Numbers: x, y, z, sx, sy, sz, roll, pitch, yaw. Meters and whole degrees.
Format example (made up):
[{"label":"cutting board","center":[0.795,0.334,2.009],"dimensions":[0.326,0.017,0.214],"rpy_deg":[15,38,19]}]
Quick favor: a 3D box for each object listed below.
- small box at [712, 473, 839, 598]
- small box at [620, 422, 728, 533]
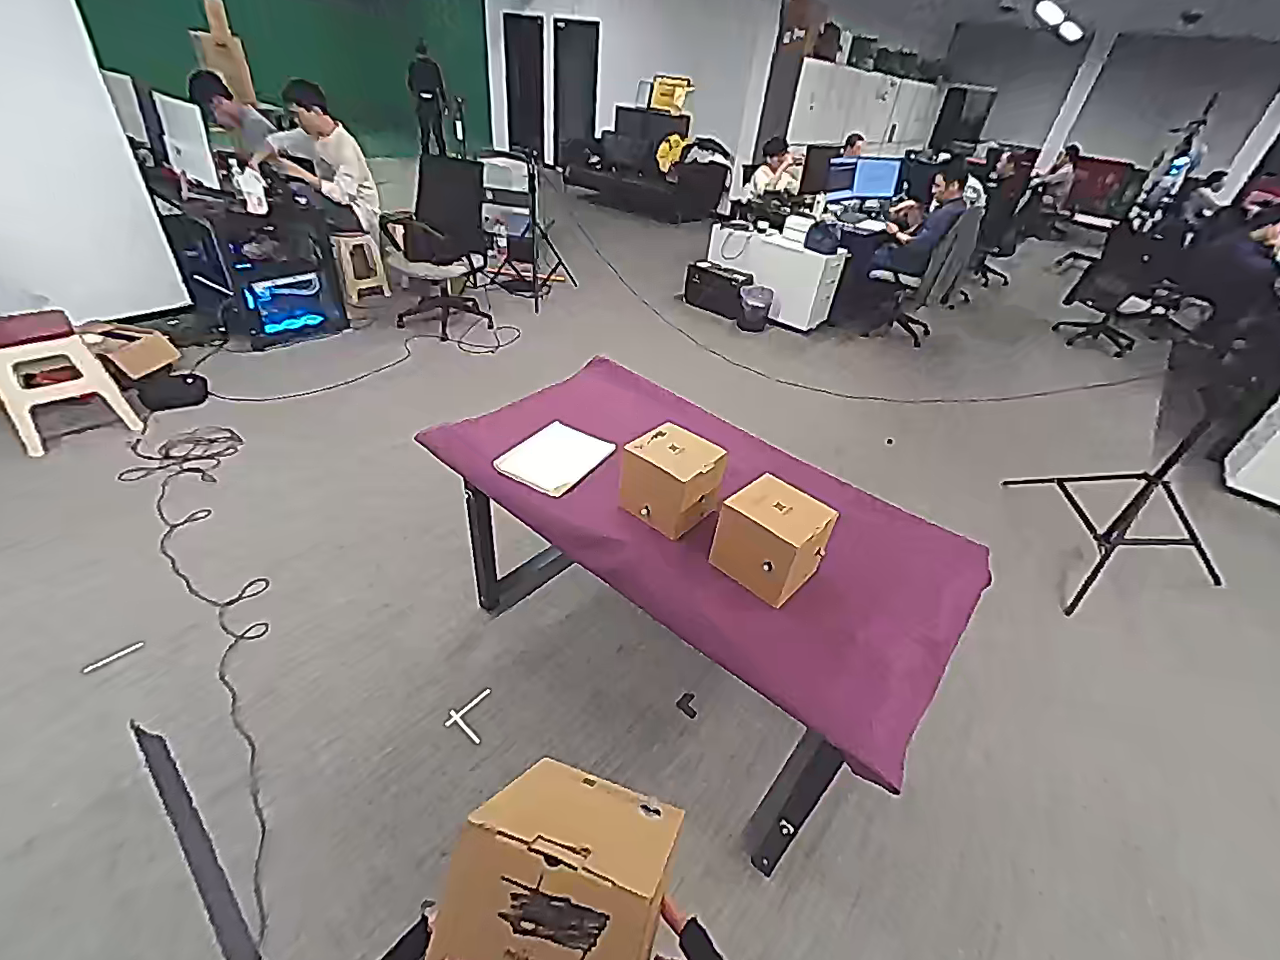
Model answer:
[{"label":"small box","center":[0.273,0.117,1.114],"dimensions":[0.179,0.176,0.168],"rpy_deg":[31,41,32]},{"label":"small box","center":[0.073,-0.002,1.242],"dimensions":[0.179,0.176,0.168],"rpy_deg":[31,43,28]}]
